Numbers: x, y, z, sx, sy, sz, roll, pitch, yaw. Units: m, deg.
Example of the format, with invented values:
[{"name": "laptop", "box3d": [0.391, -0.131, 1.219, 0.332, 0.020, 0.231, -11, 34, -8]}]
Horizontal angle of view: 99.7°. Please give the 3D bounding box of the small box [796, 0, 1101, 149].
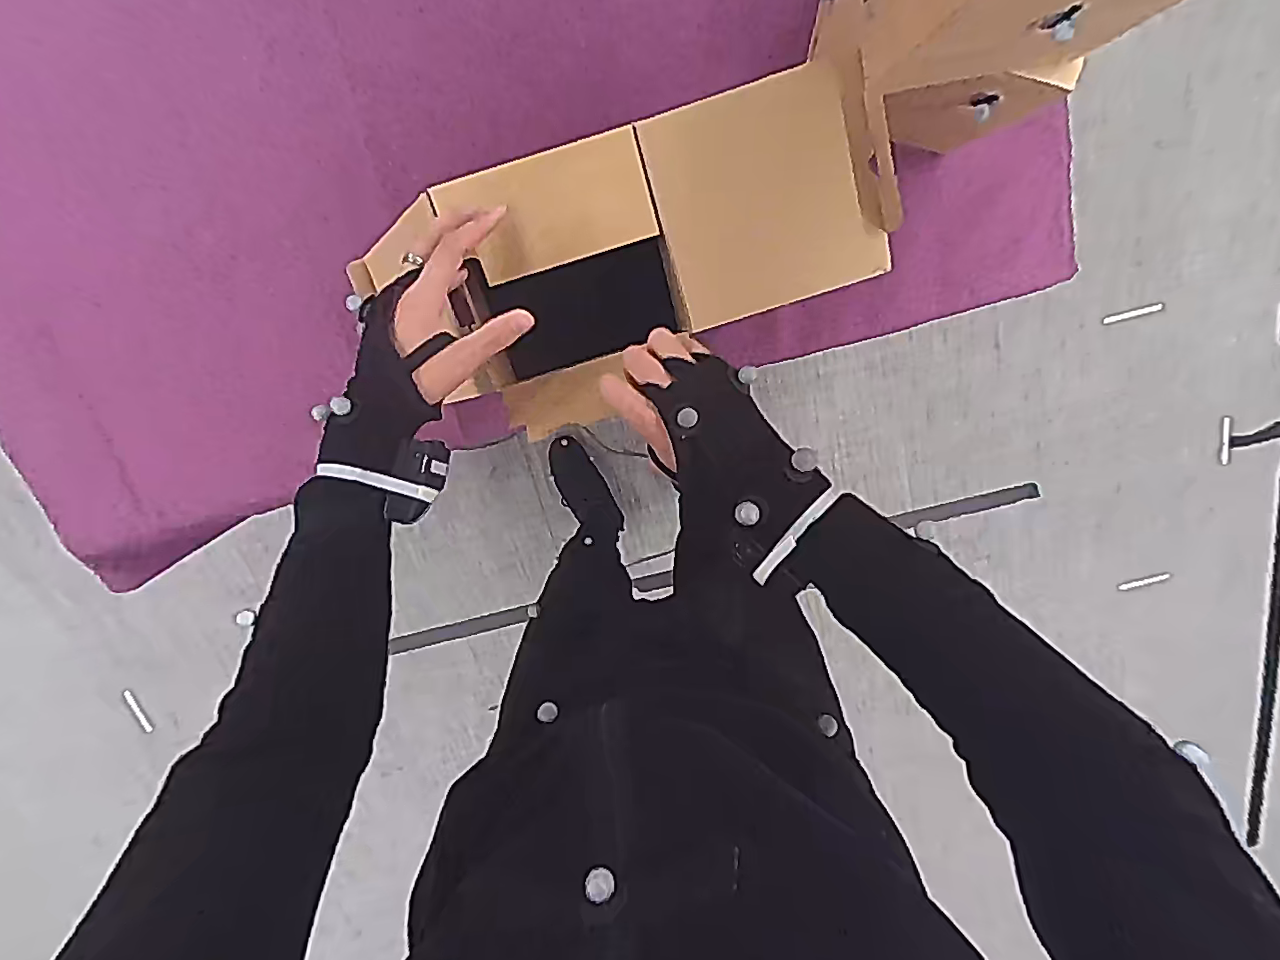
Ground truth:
[{"name": "small box", "box3d": [0.263, -0.413, 0.470, 0.179, 0.176, 0.168, 10, 105, -6]}]
